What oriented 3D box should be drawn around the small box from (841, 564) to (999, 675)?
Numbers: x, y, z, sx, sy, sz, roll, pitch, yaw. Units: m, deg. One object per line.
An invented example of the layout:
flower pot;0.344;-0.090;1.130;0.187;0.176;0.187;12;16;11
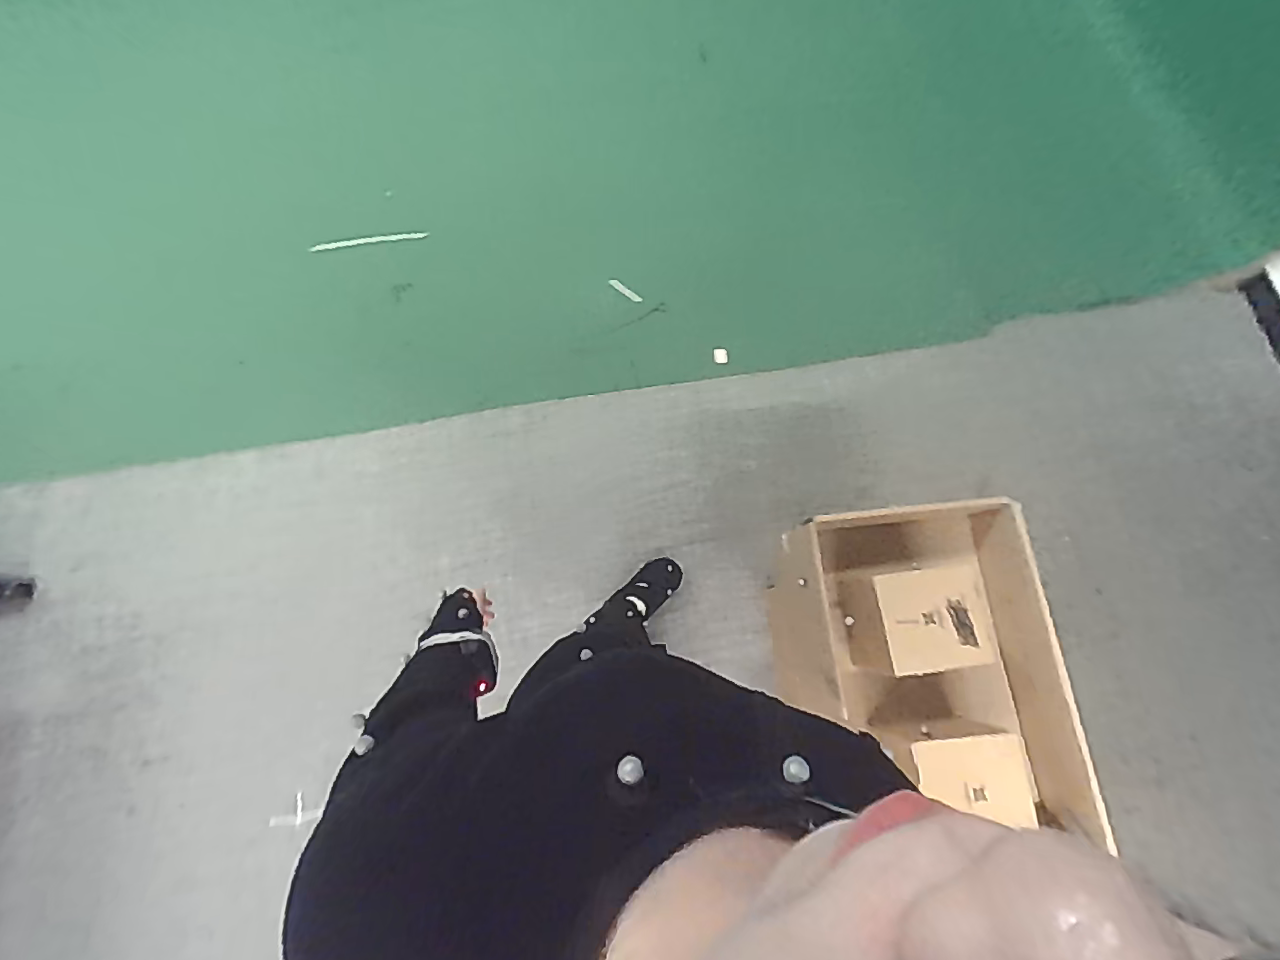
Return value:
small box;0.488;0.245;0.967;0.179;0.176;0.168;-6;76;-2
